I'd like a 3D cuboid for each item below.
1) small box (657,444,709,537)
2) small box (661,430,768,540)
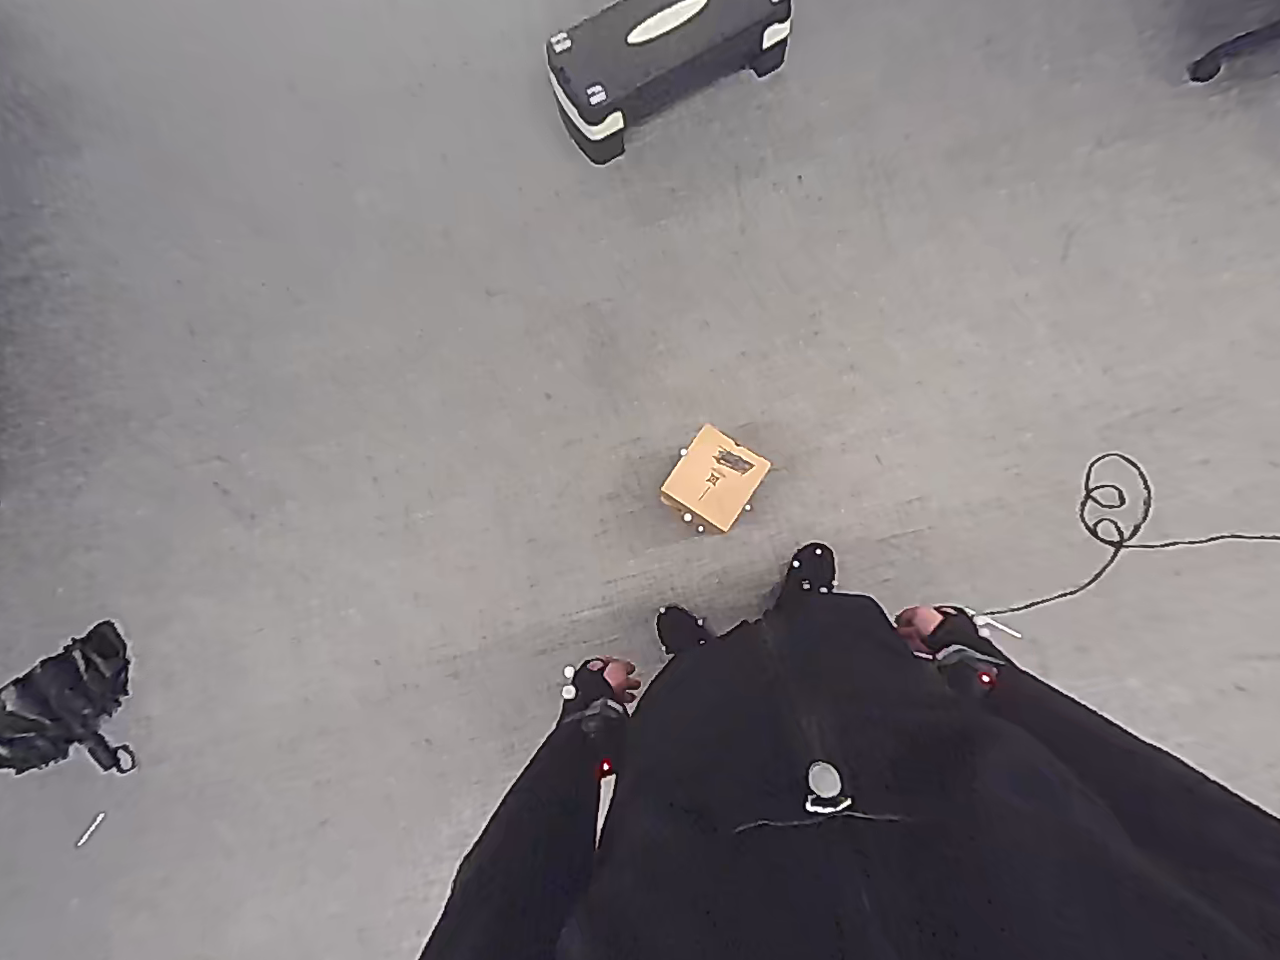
[{"bbox_3d":[0.158,0.035,1.377,0.168,0.176,0.179,26,82,8],"label":"small box"},{"bbox_3d":[0.160,0.018,1.213,0.168,0.176,0.179,34,85,9],"label":"small box"}]
